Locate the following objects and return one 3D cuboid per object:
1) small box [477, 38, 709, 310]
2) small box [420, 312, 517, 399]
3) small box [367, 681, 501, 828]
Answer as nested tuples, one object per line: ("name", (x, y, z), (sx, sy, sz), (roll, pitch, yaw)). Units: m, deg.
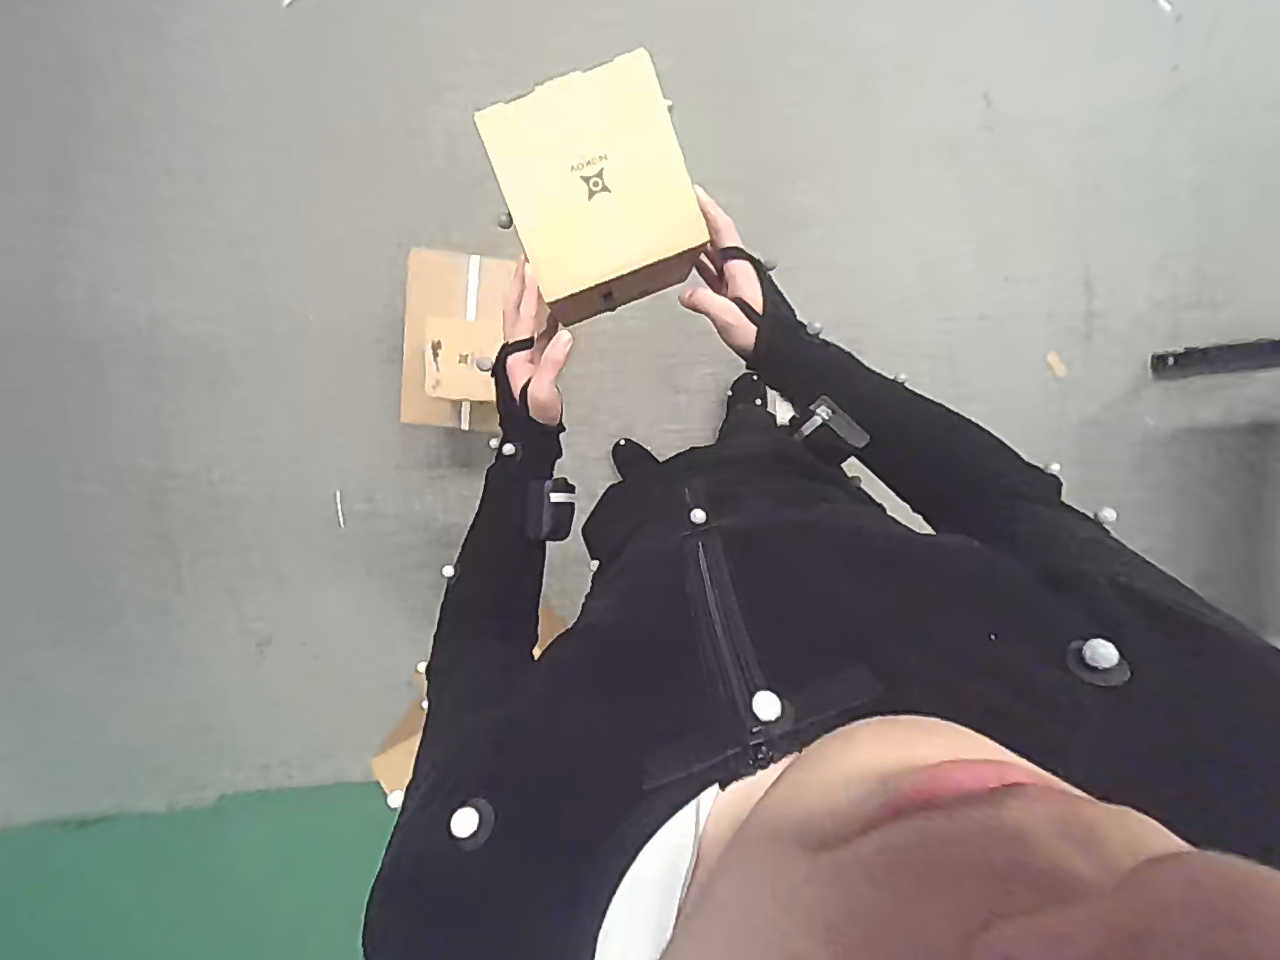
("small box", (-0.041, -0.289, 0.561), (0.168, 0.176, 0.179), (-20, 99, 1))
("small box", (-0.368, -0.265, 1.188), (0.179, 0.176, 0.168), (2, 96, -4))
("small box", (-0.410, 0.554, 1.113), (0.168, 0.176, 0.179), (-29, 97, 1))
